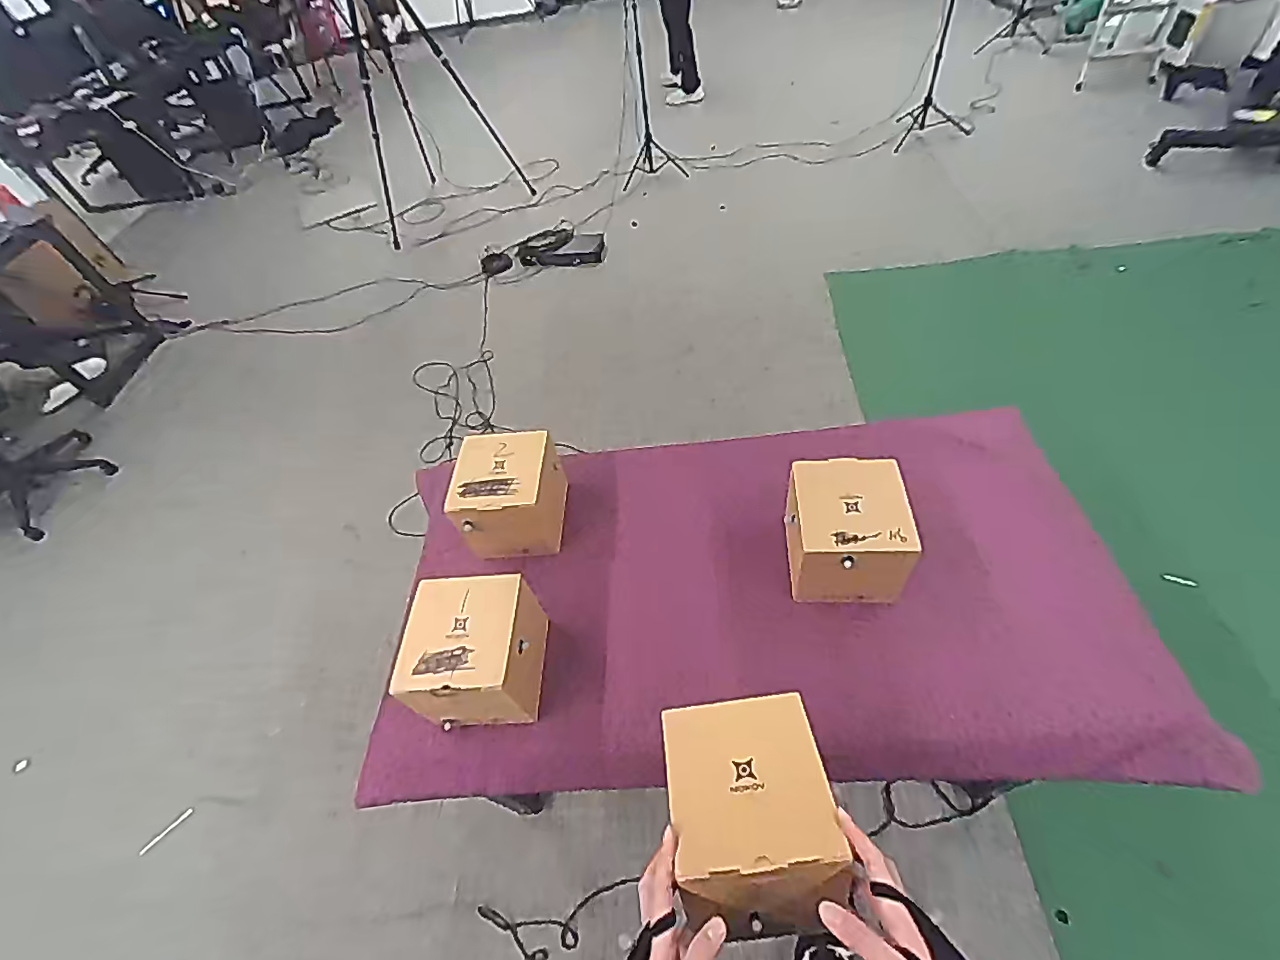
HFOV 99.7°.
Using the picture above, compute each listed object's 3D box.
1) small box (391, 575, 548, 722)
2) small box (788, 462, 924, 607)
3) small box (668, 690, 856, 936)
[{"bbox_3d":[-0.248,0.268,0.841,0.168,0.176,0.179,-4,50,5],"label":"small box"},{"bbox_3d":[0.340,0.090,0.890,0.168,0.176,0.179,-2,51,9],"label":"small box"},{"bbox_3d":[0.125,0.371,0.611,0.168,0.176,0.179,-8,34,2],"label":"small box"}]
